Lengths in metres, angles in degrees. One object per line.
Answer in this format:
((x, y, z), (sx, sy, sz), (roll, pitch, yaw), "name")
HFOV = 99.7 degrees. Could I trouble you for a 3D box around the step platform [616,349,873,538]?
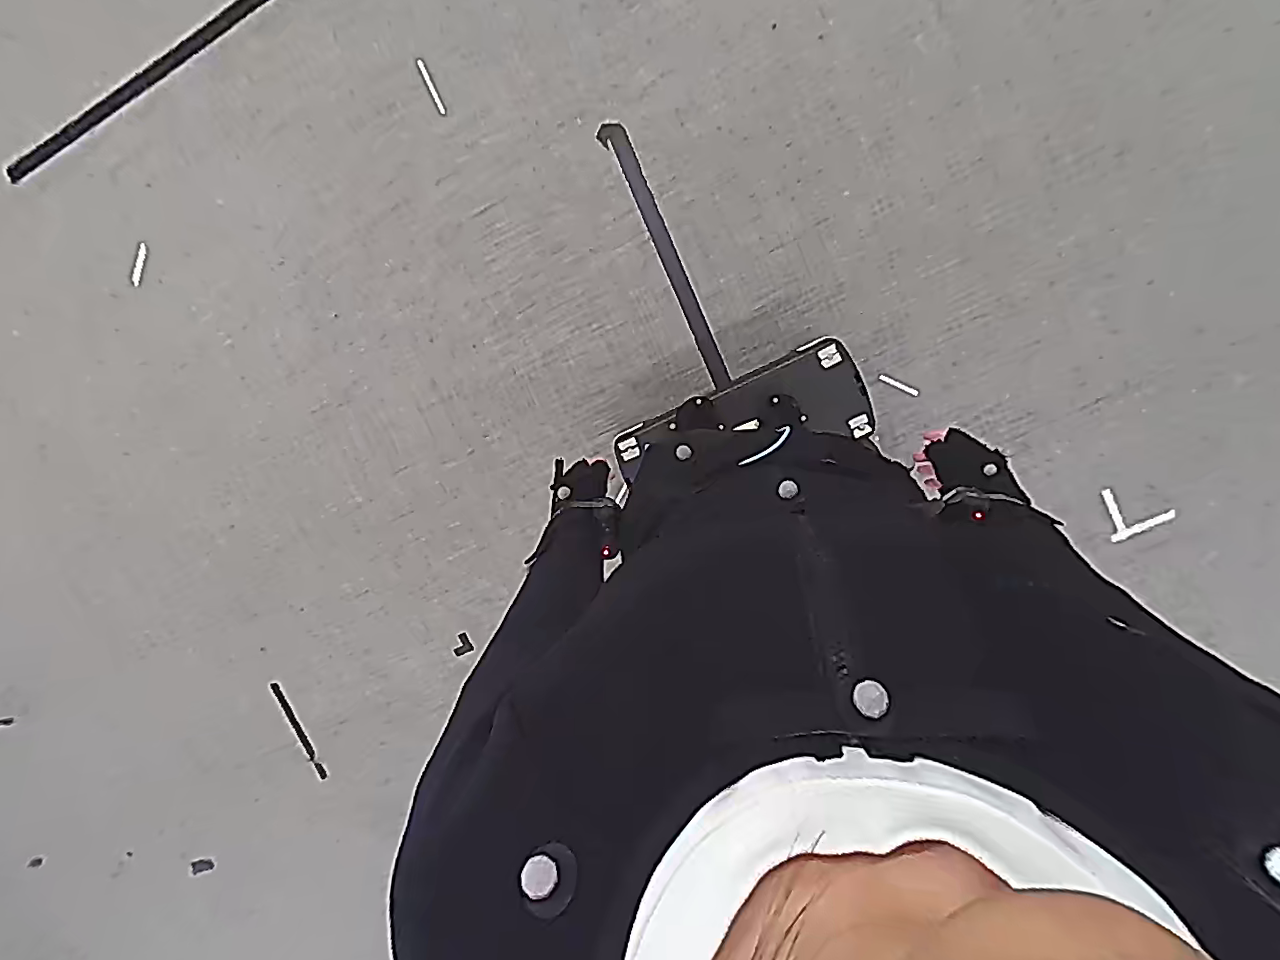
((0.276, -0.098, 1.512), (0.684, 0.204, 0.286), (-26, 97, 9), "step platform")
